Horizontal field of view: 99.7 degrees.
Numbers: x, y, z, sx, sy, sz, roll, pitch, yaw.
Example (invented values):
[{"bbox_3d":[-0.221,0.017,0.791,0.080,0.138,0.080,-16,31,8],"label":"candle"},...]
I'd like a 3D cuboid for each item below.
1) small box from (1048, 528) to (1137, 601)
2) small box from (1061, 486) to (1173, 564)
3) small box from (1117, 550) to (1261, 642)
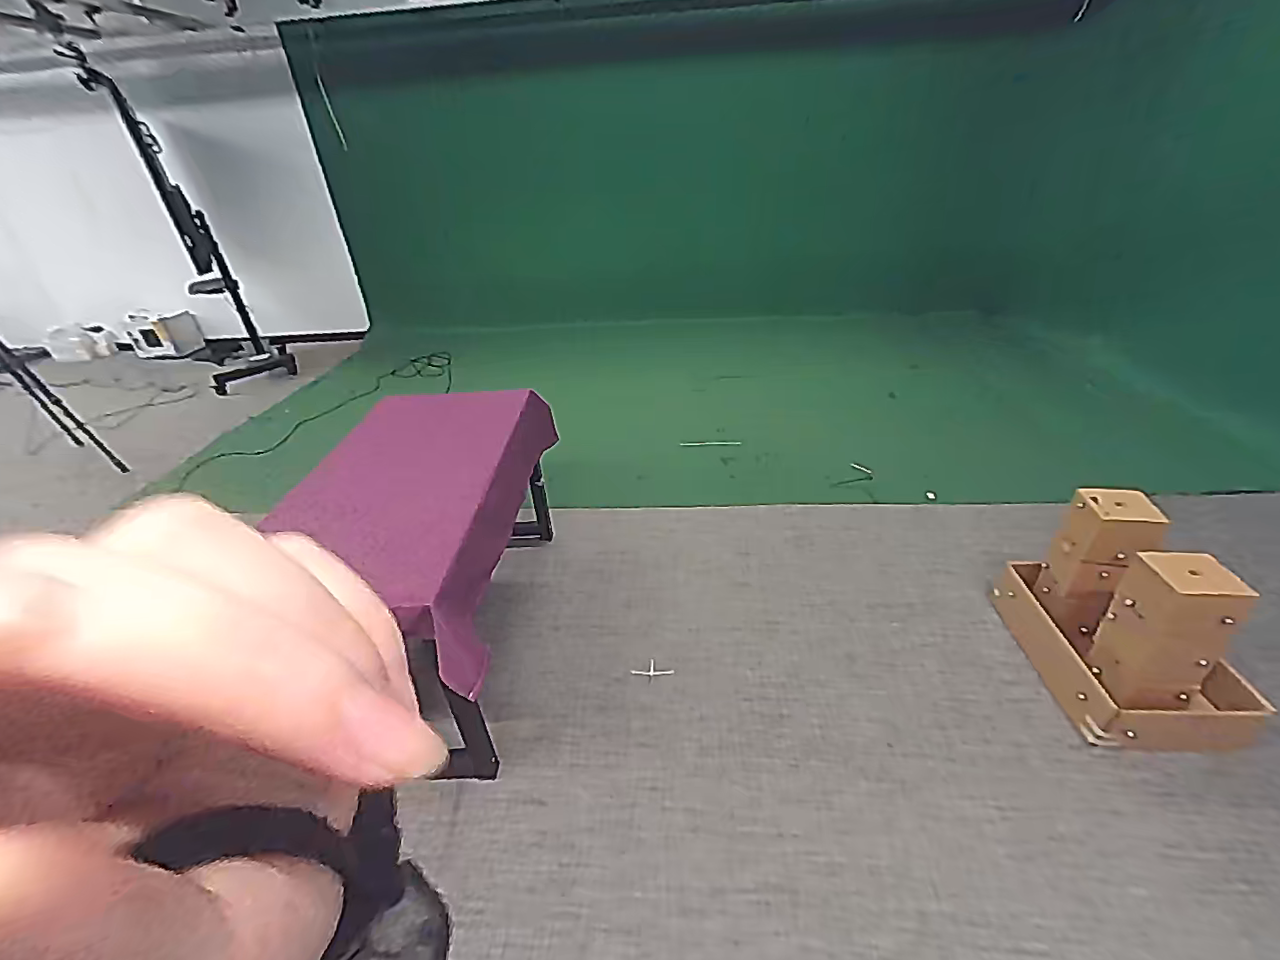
[{"bbox_3d":[1.465,0.274,1.754,0.179,0.176,0.168,3,34,10],"label":"small box"},{"bbox_3d":[1.451,0.140,1.659,0.179,0.176,0.168,4,33,11],"label":"small box"},{"bbox_3d":[1.417,0.303,1.412,0.179,0.176,0.168,0,32,8],"label":"small box"}]
